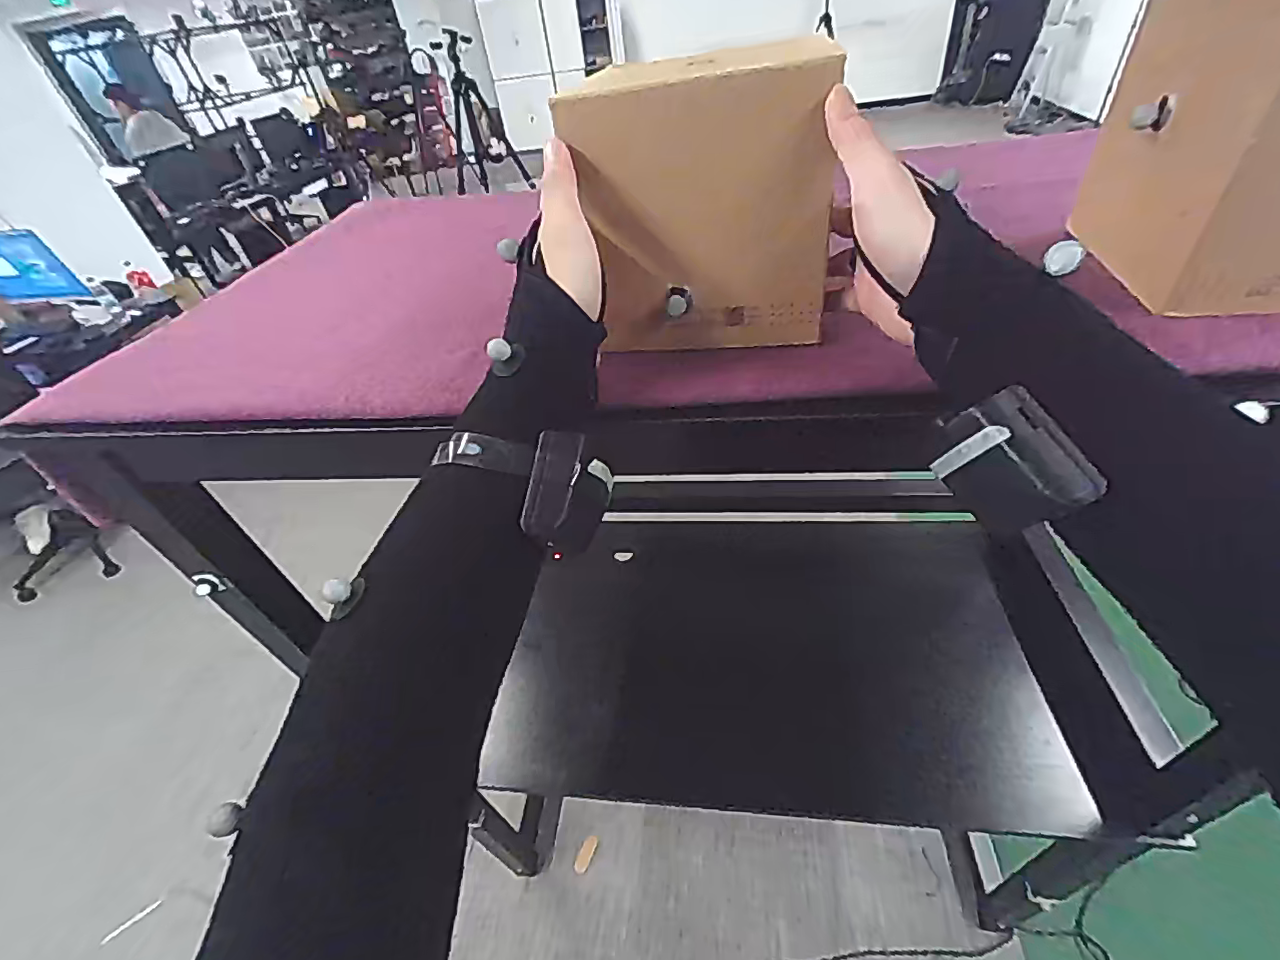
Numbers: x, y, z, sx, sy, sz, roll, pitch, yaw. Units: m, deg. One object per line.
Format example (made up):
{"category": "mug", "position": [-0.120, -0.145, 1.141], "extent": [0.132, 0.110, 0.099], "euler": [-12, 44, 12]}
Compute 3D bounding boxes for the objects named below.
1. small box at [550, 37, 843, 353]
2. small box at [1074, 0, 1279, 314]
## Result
{"category": "small box", "position": [0.050, -0.212, 0.408], "extent": [0.168, 0.176, 0.179], "euler": [0, 41, 12]}
{"category": "small box", "position": [0.426, -0.221, 0.346], "extent": [0.168, 0.176, 0.179], "euler": [1, 42, 14]}
